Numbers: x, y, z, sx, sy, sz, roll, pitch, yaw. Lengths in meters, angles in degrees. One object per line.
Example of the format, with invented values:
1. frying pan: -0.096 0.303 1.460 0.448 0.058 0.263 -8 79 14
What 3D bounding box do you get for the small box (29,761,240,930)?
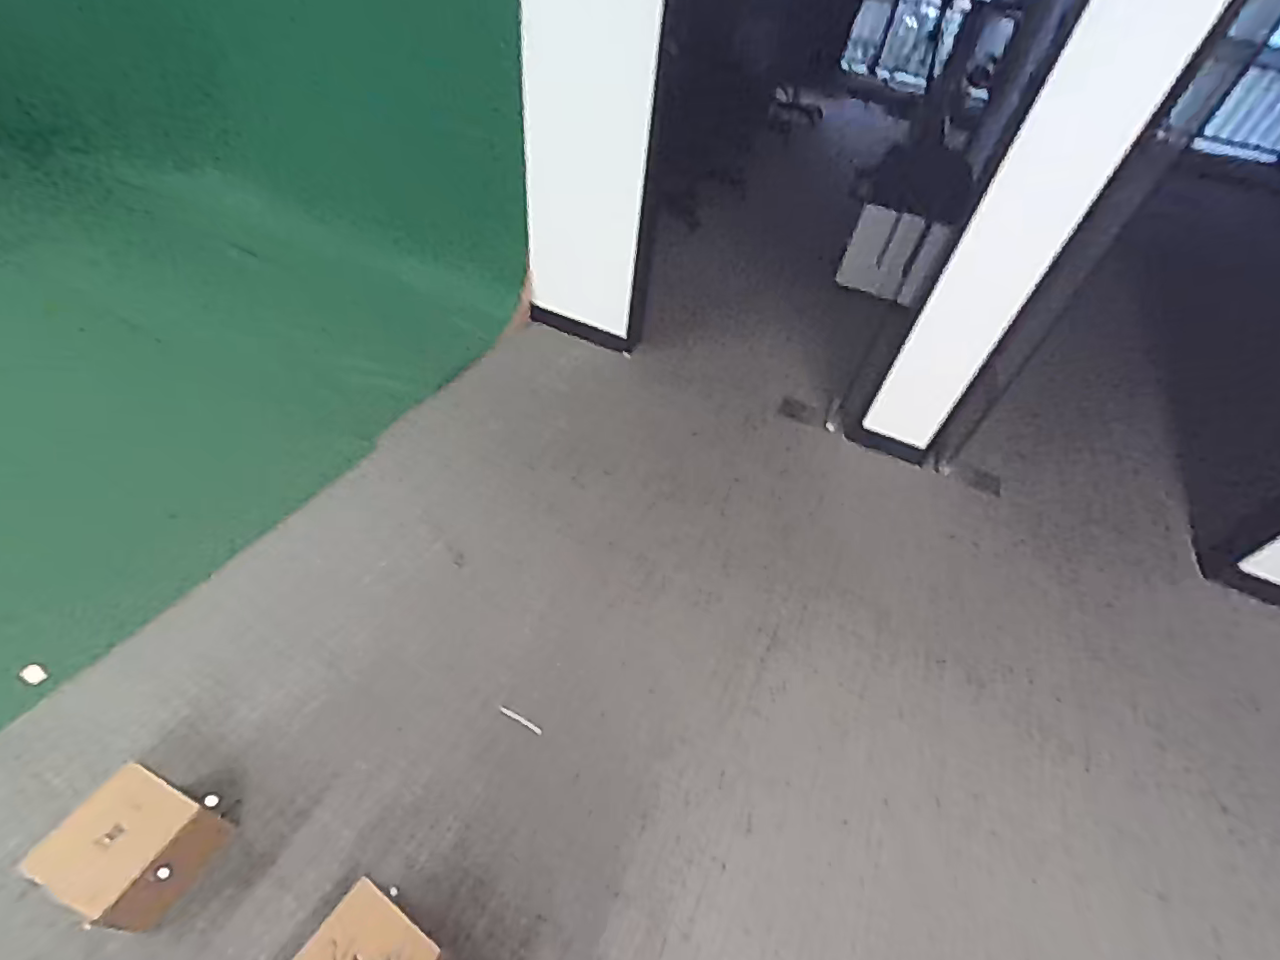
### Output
1. small box: -0.847 0.630 0.929 0.168 0.176 0.179 23 47 12
